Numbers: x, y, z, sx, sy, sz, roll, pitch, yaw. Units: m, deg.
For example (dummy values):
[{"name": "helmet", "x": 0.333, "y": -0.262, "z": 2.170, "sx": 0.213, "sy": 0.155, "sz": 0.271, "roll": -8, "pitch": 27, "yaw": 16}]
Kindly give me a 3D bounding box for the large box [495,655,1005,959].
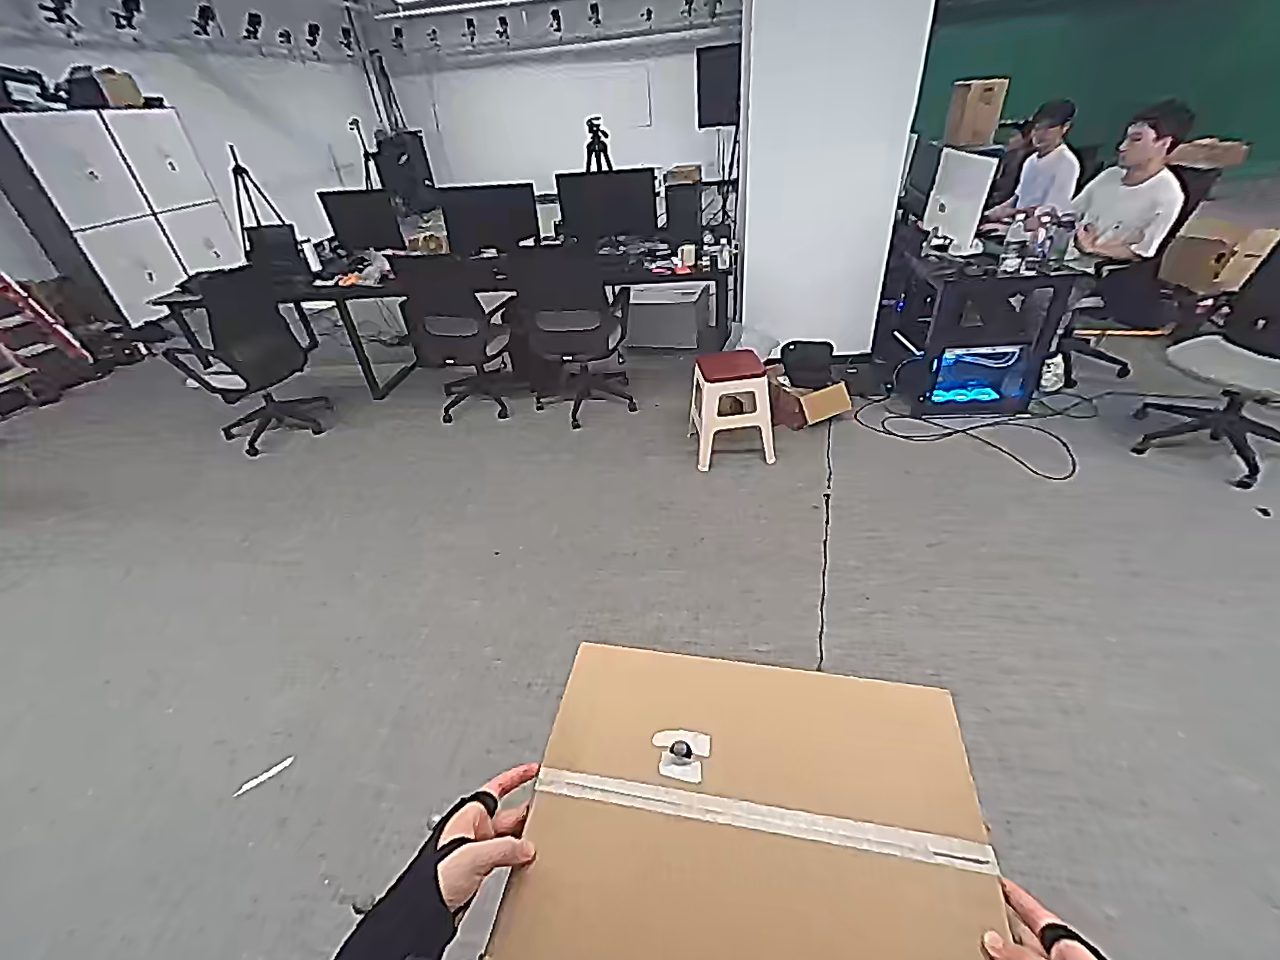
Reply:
[{"name": "large box", "x": 0.113, "y": 0.429, "z": 0.598, "sx": 0.408, "sy": 0.320, "sz": 0.320, "roll": 3, "pitch": 40, "yaw": 11}]
